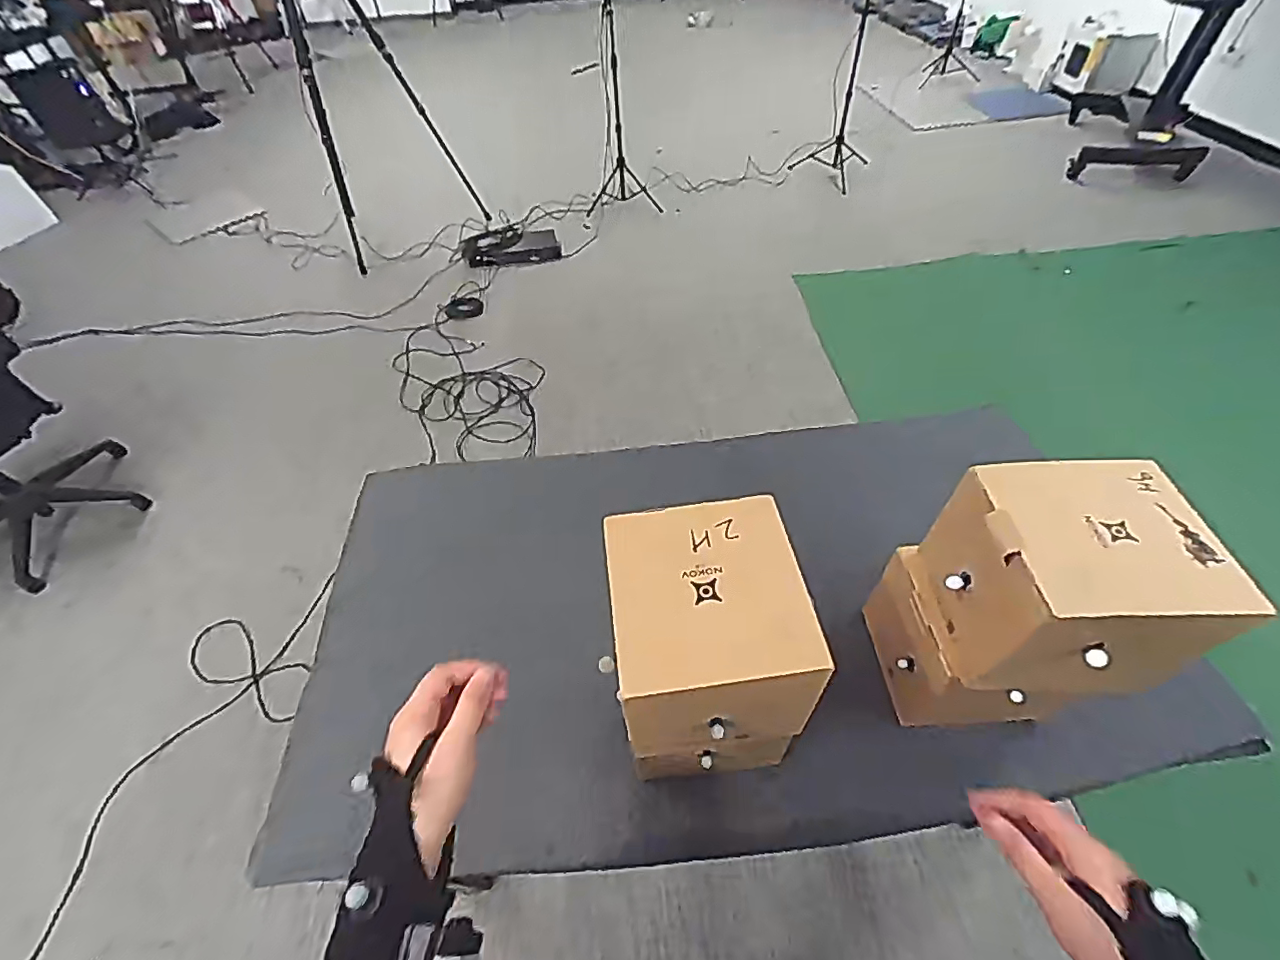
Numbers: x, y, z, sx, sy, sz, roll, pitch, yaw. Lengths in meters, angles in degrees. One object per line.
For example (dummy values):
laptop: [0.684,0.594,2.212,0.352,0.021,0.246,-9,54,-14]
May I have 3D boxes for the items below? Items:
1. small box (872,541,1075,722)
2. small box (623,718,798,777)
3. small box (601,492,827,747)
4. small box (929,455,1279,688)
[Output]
small box: [0.404,0.187,0.663,0.179,0.176,0.168,-3,50,0]
small box: [0.070,0.238,0.642,0.179,0.176,0.168,-7,49,0]
small box: [0.057,0.138,0.511,0.168,0.176,0.179,-7,49,-2]
small box: [0.409,0.093,0.527,0.179,0.176,0.168,-2,50,3]
